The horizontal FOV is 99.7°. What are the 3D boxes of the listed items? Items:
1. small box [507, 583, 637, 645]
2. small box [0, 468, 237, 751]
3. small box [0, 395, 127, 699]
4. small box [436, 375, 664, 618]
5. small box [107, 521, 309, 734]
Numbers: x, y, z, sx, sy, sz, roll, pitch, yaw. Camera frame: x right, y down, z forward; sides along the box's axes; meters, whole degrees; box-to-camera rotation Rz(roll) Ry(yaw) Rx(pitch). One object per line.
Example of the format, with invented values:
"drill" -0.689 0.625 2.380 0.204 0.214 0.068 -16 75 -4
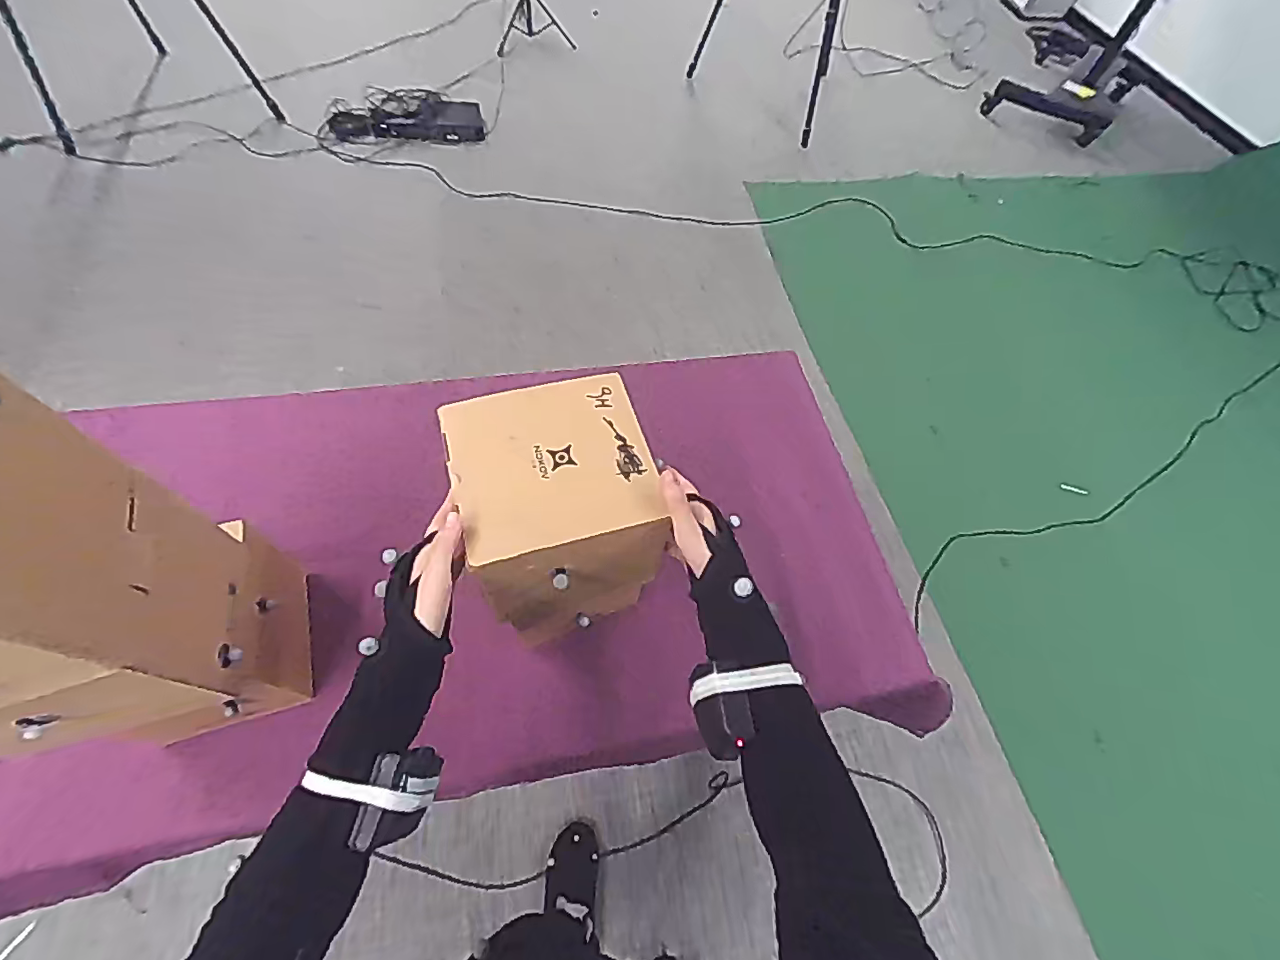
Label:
"small box" -0.110 0.087 0.697 0.168 0.176 0.179 -19 64 -15
"small box" -0.479 0.114 0.458 0.179 0.176 0.168 -13 62 -13
"small box" -0.453 0.042 0.315 0.168 0.176 0.179 -16 63 -15
"small box" -0.088 0.024 0.544 0.179 0.176 0.168 -13 62 -12
"small box" -0.497 0.174 0.611 0.168 0.176 0.179 -13 61 -13
